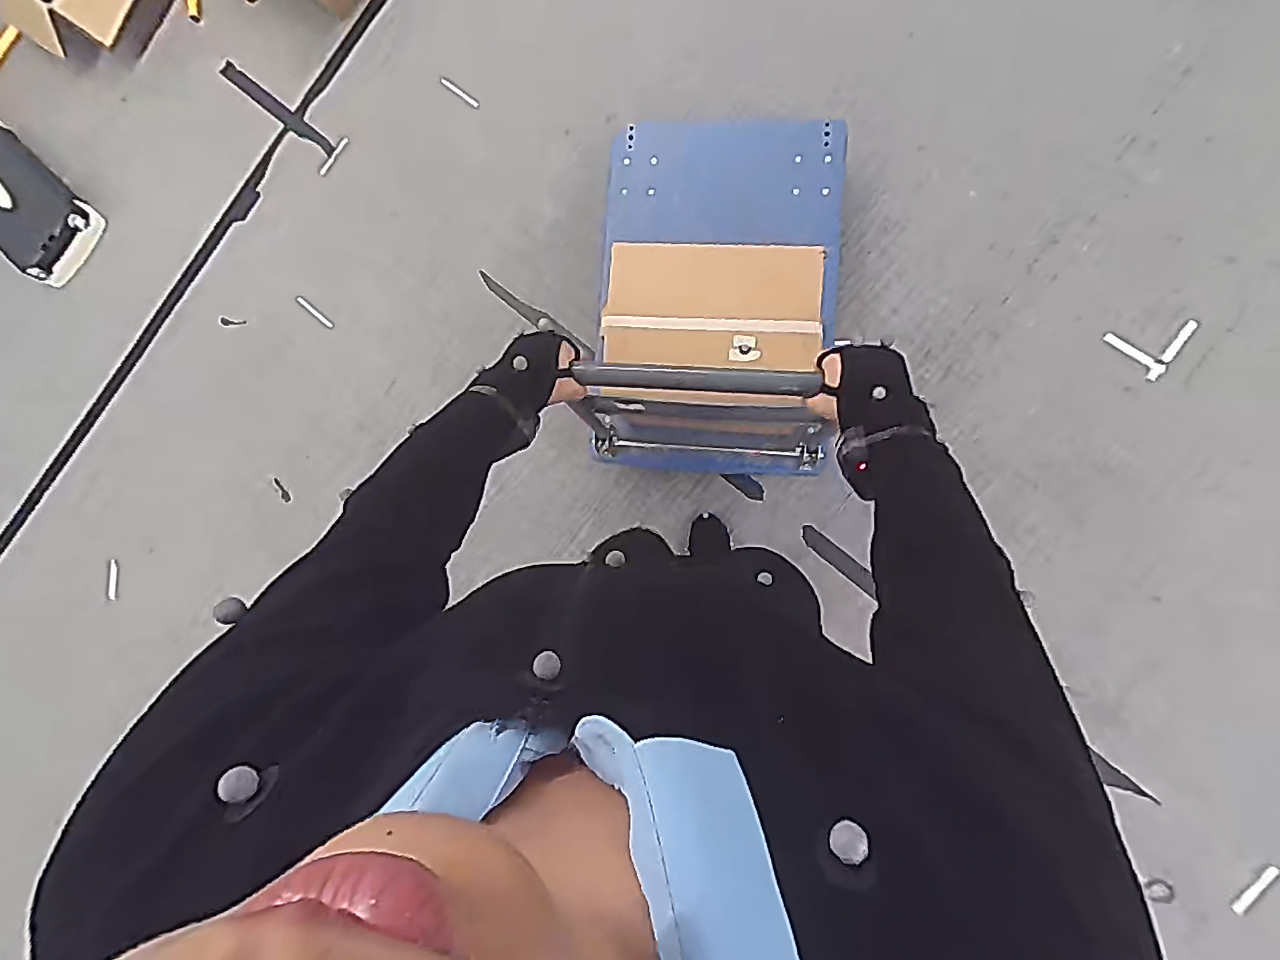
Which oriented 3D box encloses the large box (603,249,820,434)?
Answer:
[{"bbox_3d":[0.146,-0.279,1.173,0.408,0.320,0.320,4,88,6],"label":"large box"}]
